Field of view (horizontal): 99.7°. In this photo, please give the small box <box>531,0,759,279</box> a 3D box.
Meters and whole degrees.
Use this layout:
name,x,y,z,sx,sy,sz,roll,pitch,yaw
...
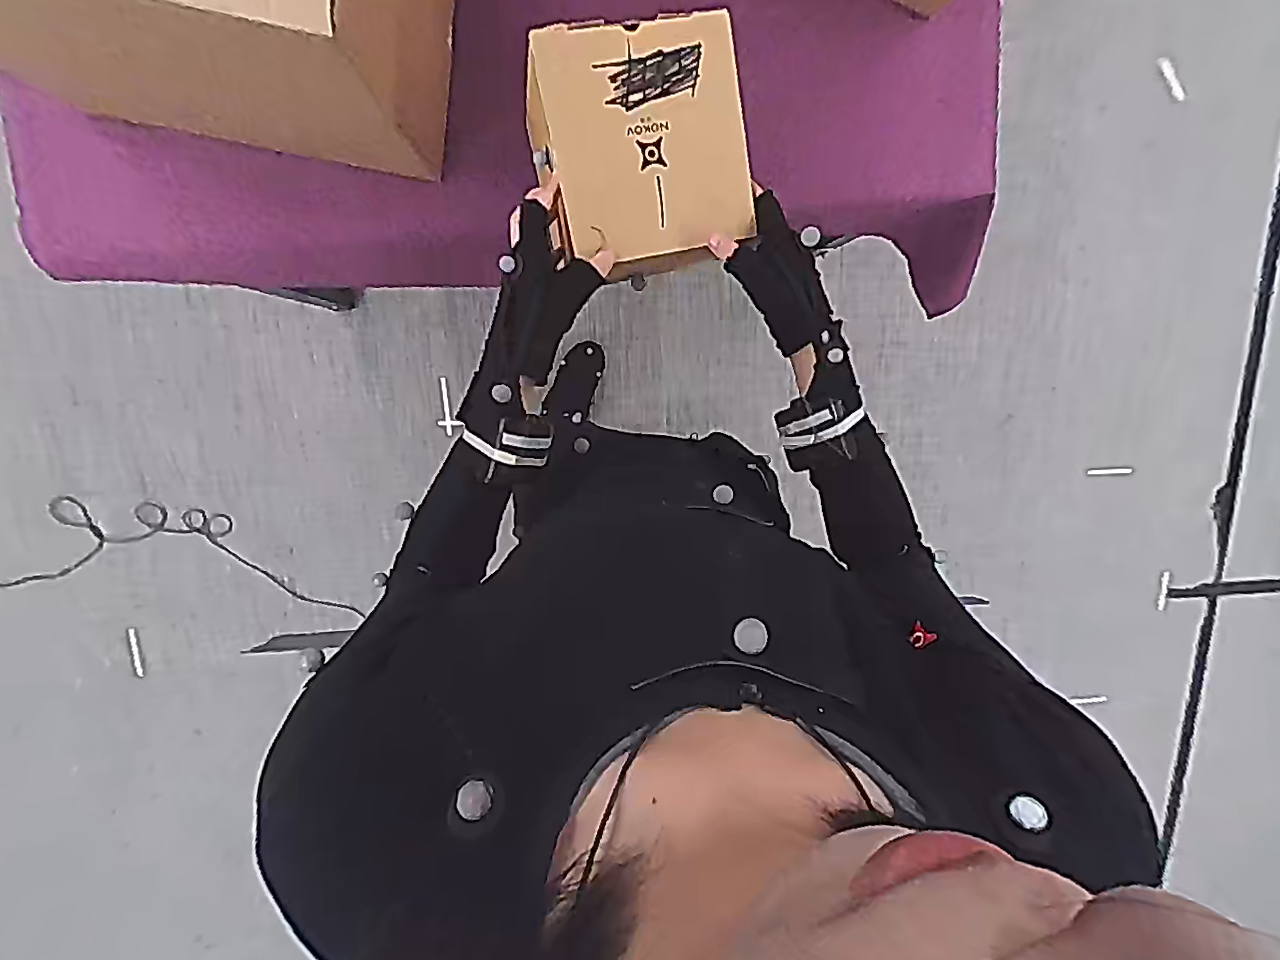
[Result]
name,x,y,z,sx,sy,sz,roll,pitch,yaw
small box,-0.006,-0.301,0.511,0.168,0.176,0.179,-12,106,-9
